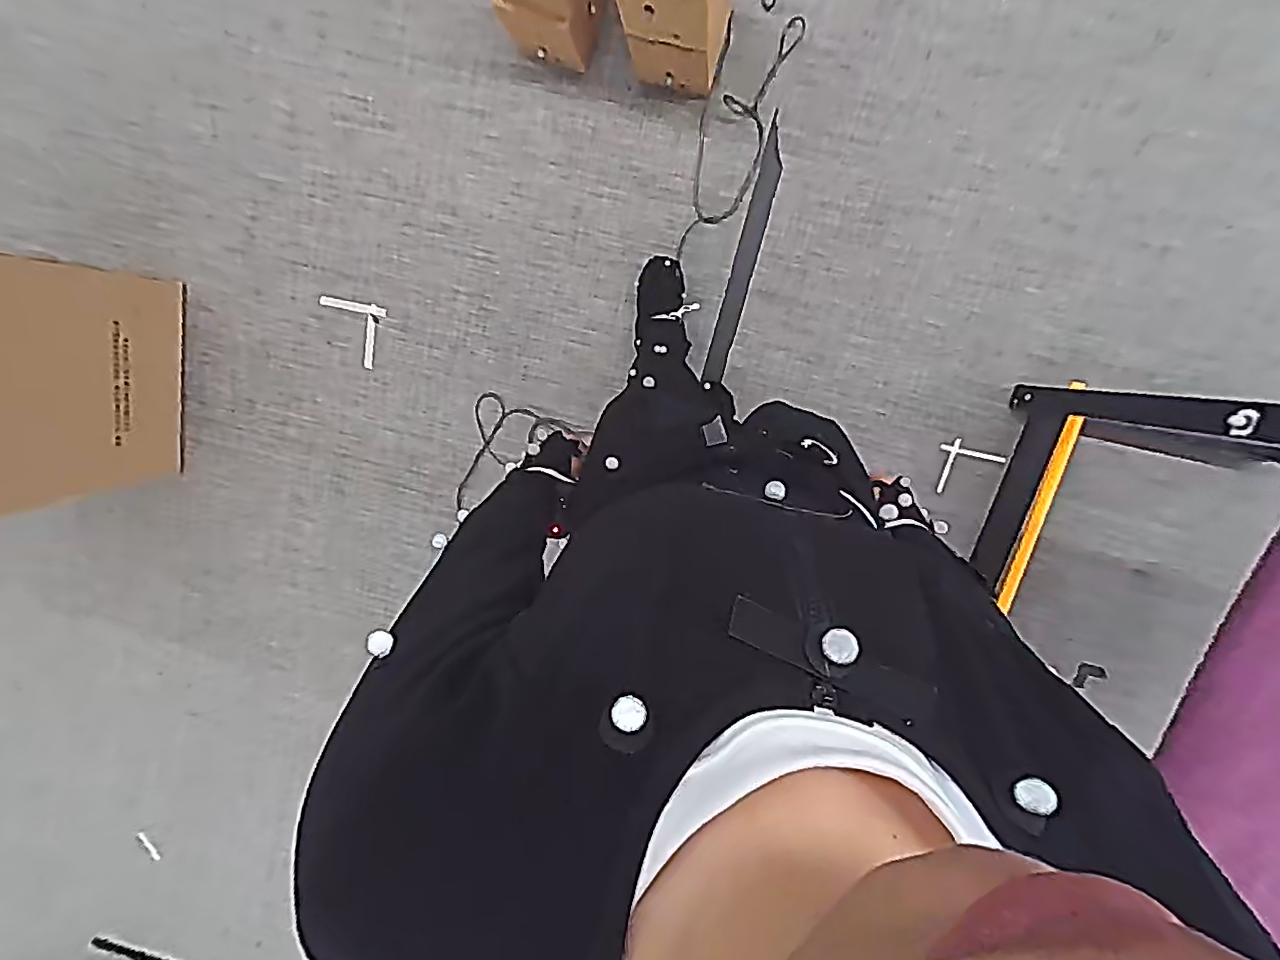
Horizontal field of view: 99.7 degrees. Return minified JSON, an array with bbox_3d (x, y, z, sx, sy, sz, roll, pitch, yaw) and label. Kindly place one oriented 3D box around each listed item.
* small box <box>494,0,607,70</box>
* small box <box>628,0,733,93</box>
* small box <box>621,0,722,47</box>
[{"bbox_3d":[-0.171,-0.981,1.084,0.168,0.176,0.179,22,105,2],"label":"small box"},{"bbox_3d":[0.085,-0.916,1.069,0.168,0.176,0.179,17,104,4],"label":"small box"},{"bbox_3d":[0.064,-0.884,0.912,0.168,0.176,0.179,16,103,4],"label":"small box"}]
